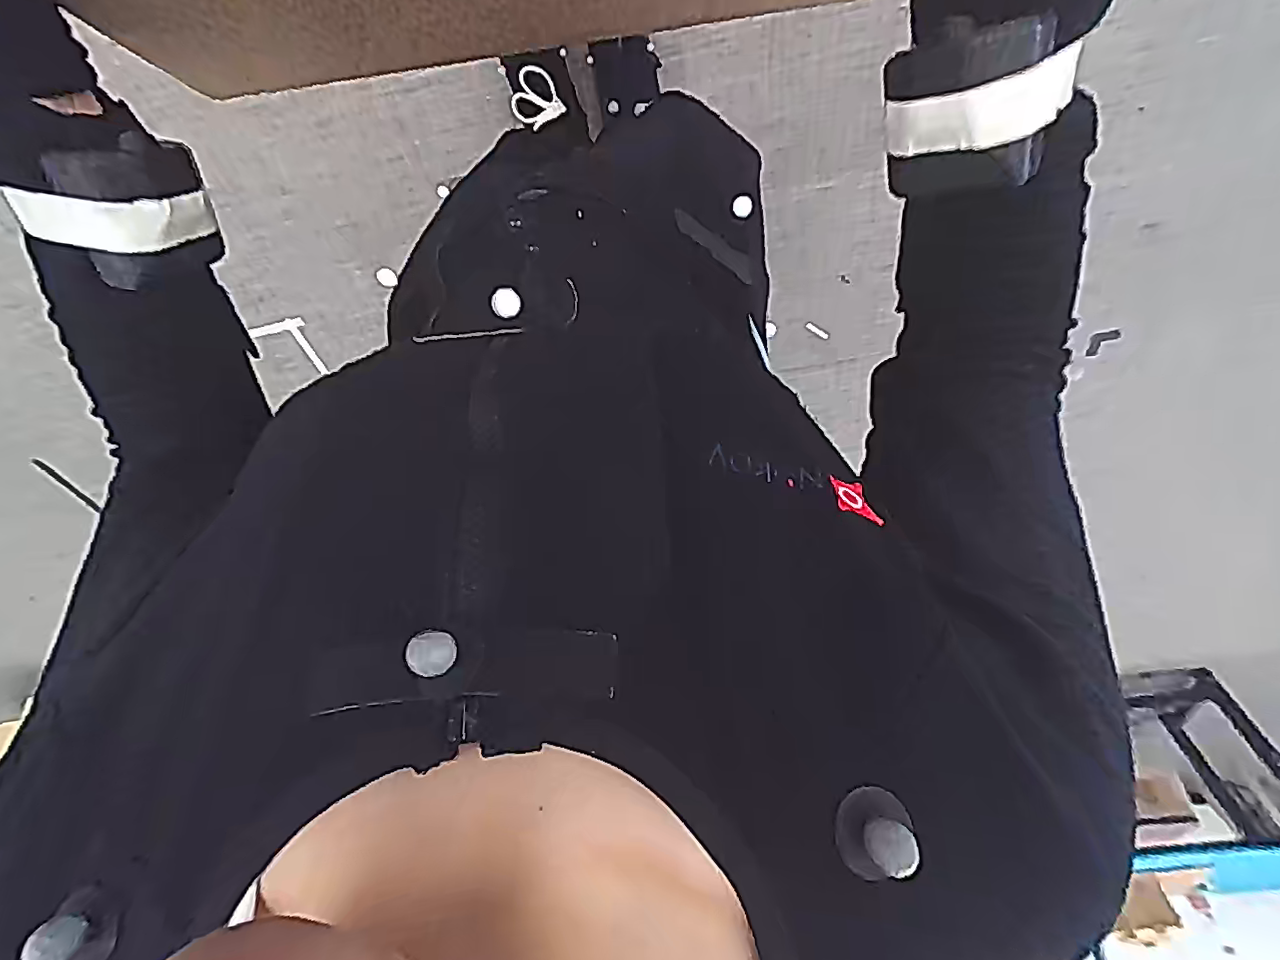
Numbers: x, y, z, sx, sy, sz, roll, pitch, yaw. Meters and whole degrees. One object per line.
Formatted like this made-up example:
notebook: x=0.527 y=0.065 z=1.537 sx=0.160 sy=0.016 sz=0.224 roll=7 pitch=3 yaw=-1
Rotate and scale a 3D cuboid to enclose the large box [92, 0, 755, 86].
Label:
large box: x=-0.087 y=-0.387 z=0.151 sx=0.408 sy=0.320 sz=0.320 roll=-6 pitch=101 yaw=3
